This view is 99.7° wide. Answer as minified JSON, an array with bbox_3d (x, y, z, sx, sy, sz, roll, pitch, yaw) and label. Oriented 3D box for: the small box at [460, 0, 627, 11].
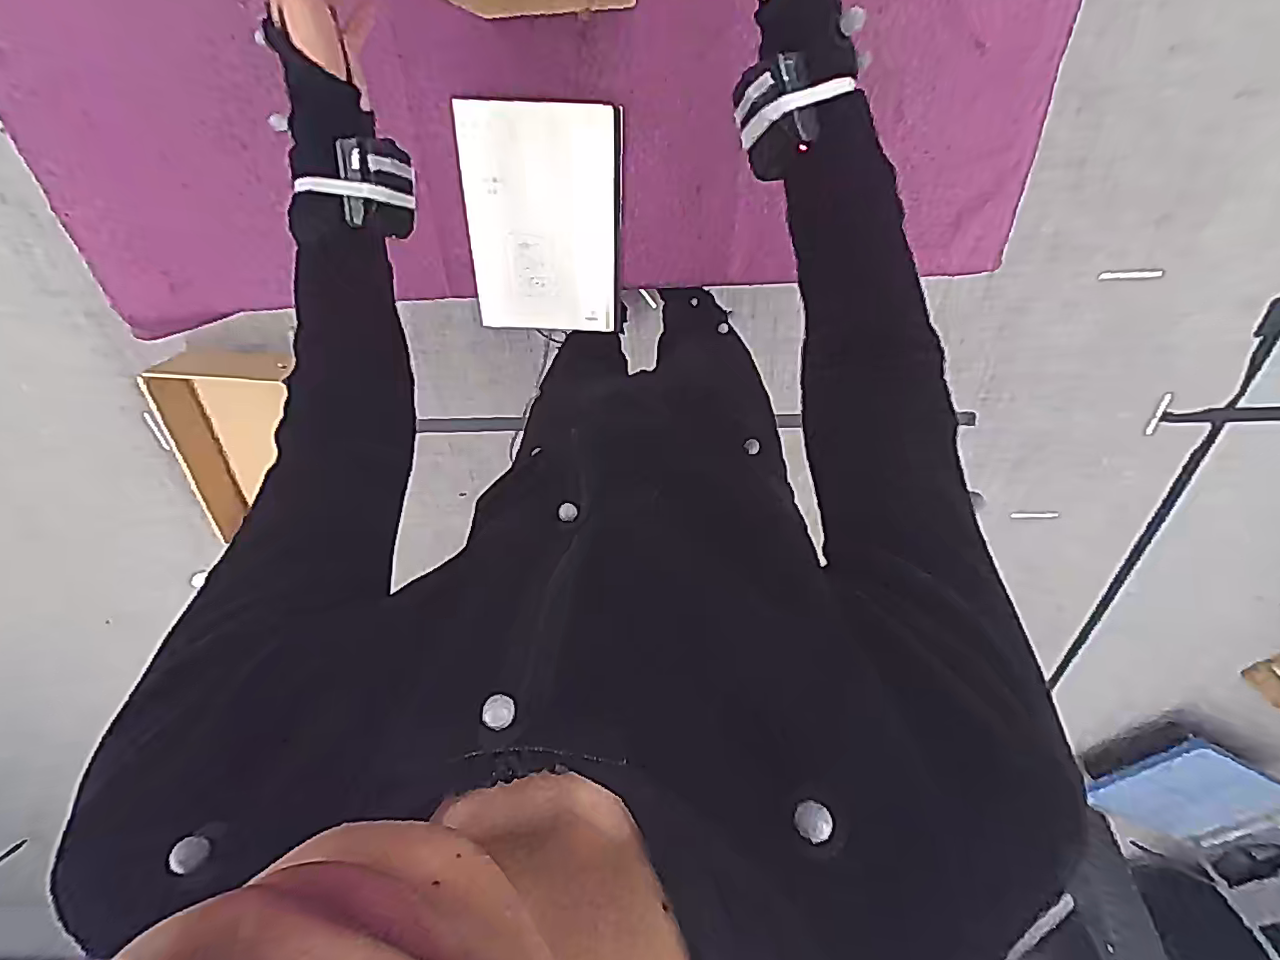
[{"bbox_3d":[-0.092,-0.512,0.449,0.168,0.176,0.179,-2,125,2],"label":"small box"}]
